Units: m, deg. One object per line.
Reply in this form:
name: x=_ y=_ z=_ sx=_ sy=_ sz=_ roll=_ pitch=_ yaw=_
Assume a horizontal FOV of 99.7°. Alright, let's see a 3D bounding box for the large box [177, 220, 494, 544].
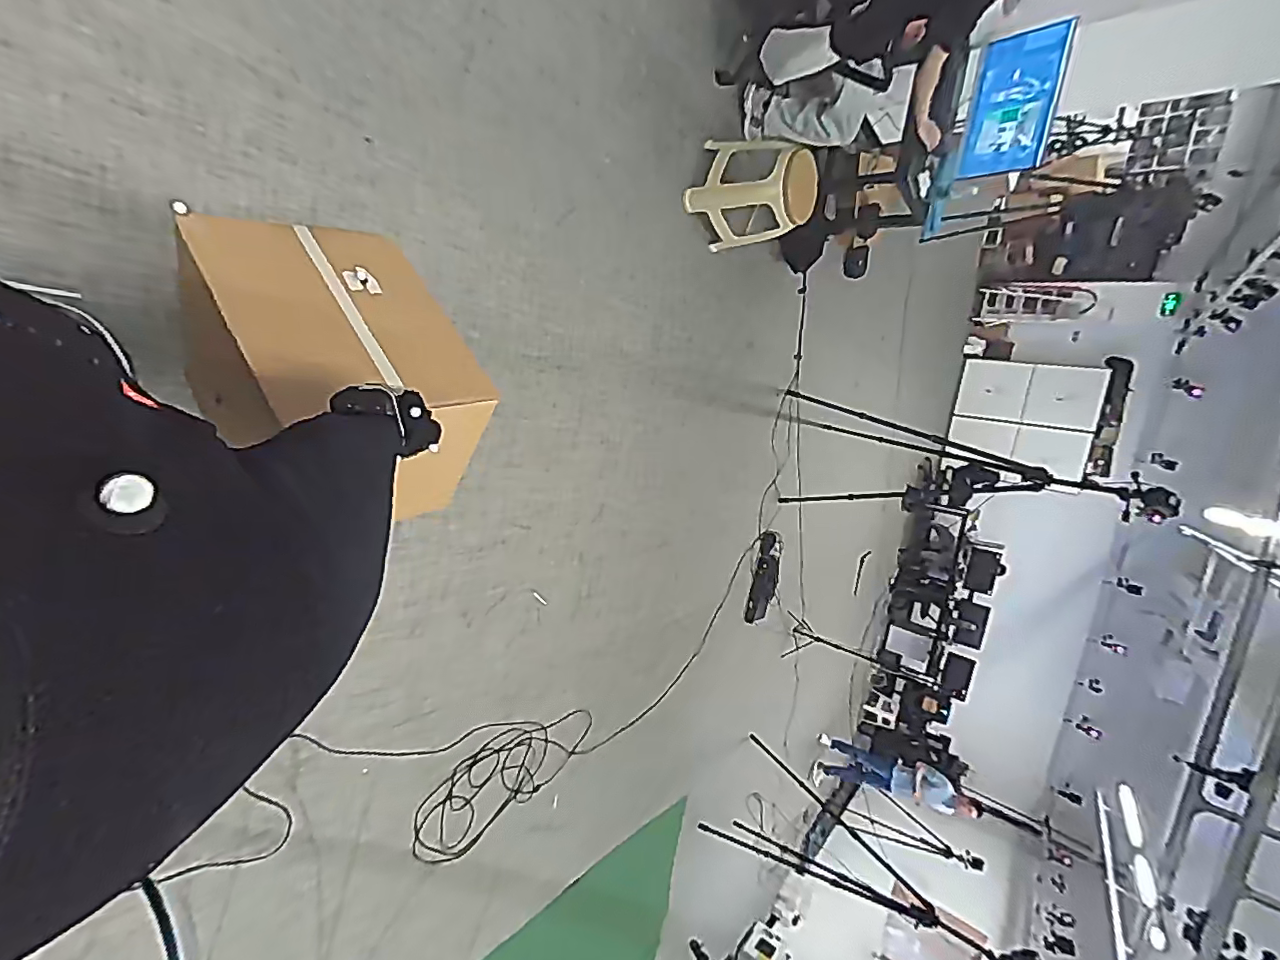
large box: x=-0.521 y=-0.167 z=0.923 sx=0.320 sy=0.408 sz=0.320 roll=-19 pitch=156 yaw=-47
